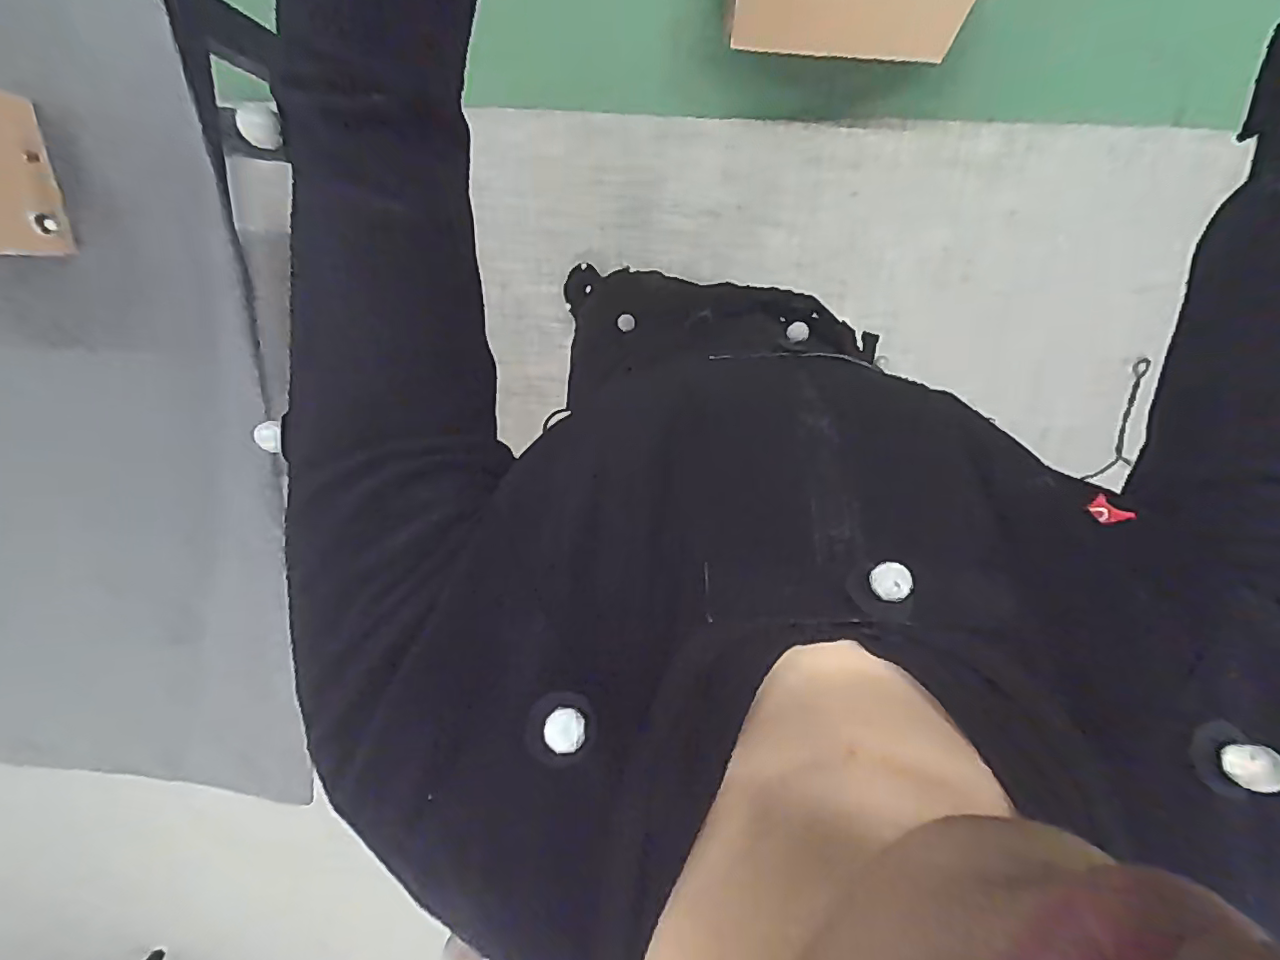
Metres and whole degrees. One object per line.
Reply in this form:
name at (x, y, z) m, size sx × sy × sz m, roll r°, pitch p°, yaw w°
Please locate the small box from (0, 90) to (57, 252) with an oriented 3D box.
small box at (-0.782, -0.335, 0.565) m, size 0.179 × 0.176 × 0.168 m, roll 3°, pitch 110°, yaw 3°
